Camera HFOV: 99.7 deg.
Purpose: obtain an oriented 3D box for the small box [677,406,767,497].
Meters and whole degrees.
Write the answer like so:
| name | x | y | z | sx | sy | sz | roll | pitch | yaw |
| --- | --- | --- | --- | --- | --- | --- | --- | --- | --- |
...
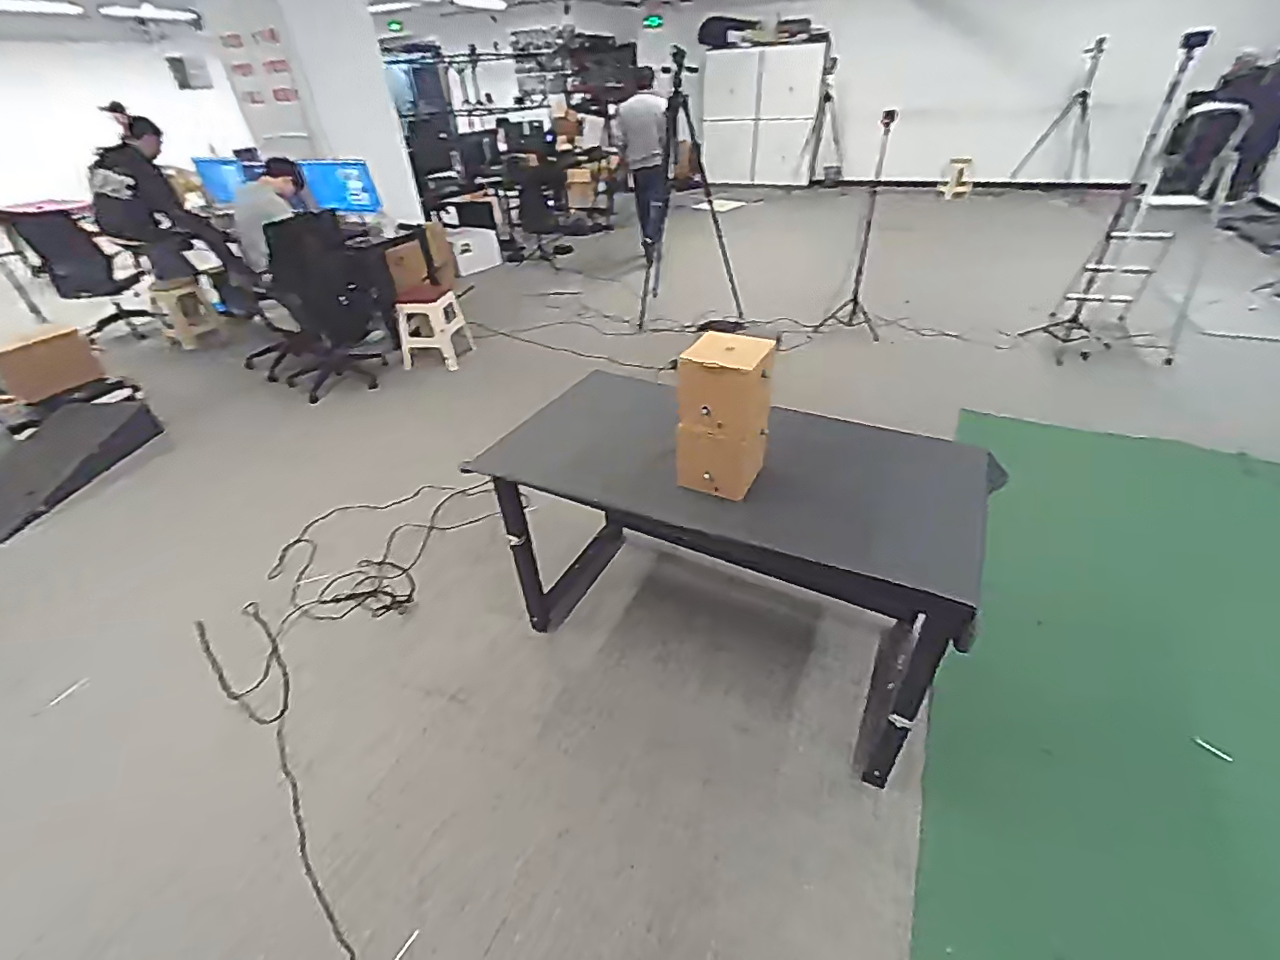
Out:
| name | x | y | z | sx | sy | sz | roll | pitch | yaw |
| --- | --- | --- | --- | --- | --- | --- | --- | --- | --- |
| small box | 0.196 | -0.086 | 1.309 | 0.168 | 0.176 | 0.179 | 16 | 40 | 24 |

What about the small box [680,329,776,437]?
| name | x | y | z | sx | sy | sz | roll | pitch | yaw |
| --- | --- | --- | --- | --- | --- | --- | --- | --- | --- |
| small box | 0.194 | -0.221 | 1.219 | 0.168 | 0.176 | 0.179 | 16 | 40 | 23 |
